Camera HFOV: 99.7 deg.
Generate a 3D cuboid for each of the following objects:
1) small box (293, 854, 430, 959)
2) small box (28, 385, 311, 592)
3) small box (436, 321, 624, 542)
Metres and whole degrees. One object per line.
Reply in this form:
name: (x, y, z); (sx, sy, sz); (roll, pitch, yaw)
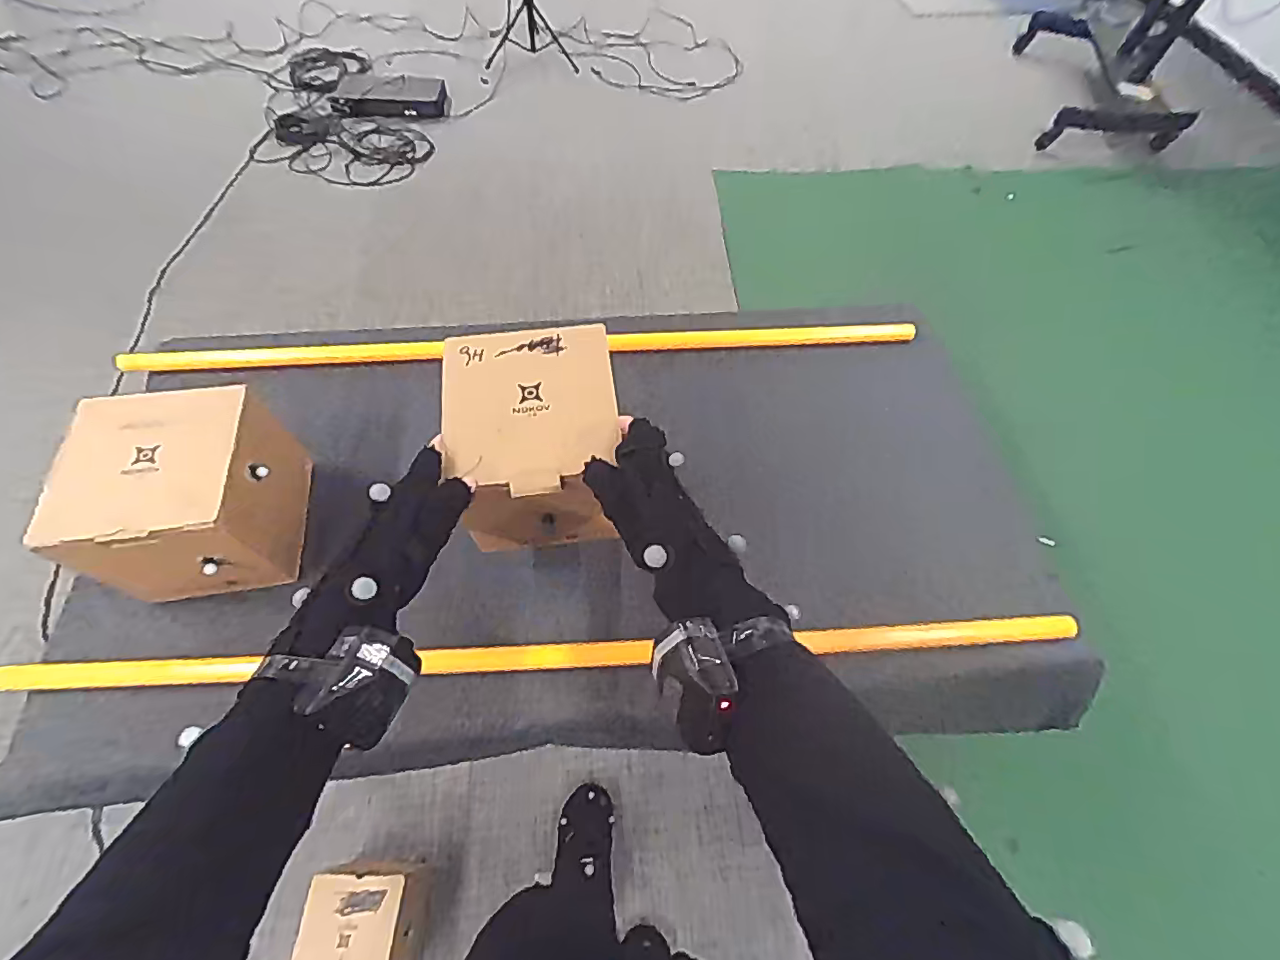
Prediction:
small box: (-0.508, 0.815, 1.009); (0.168, 0.176, 0.179); (3, 62, -1)
small box: (-0.505, 0.018, 0.618); (0.168, 0.176, 0.179); (-7, 60, -9)
small box: (-0.113, -0.042, 0.596); (0.168, 0.176, 0.179); (-10, 64, -5)
